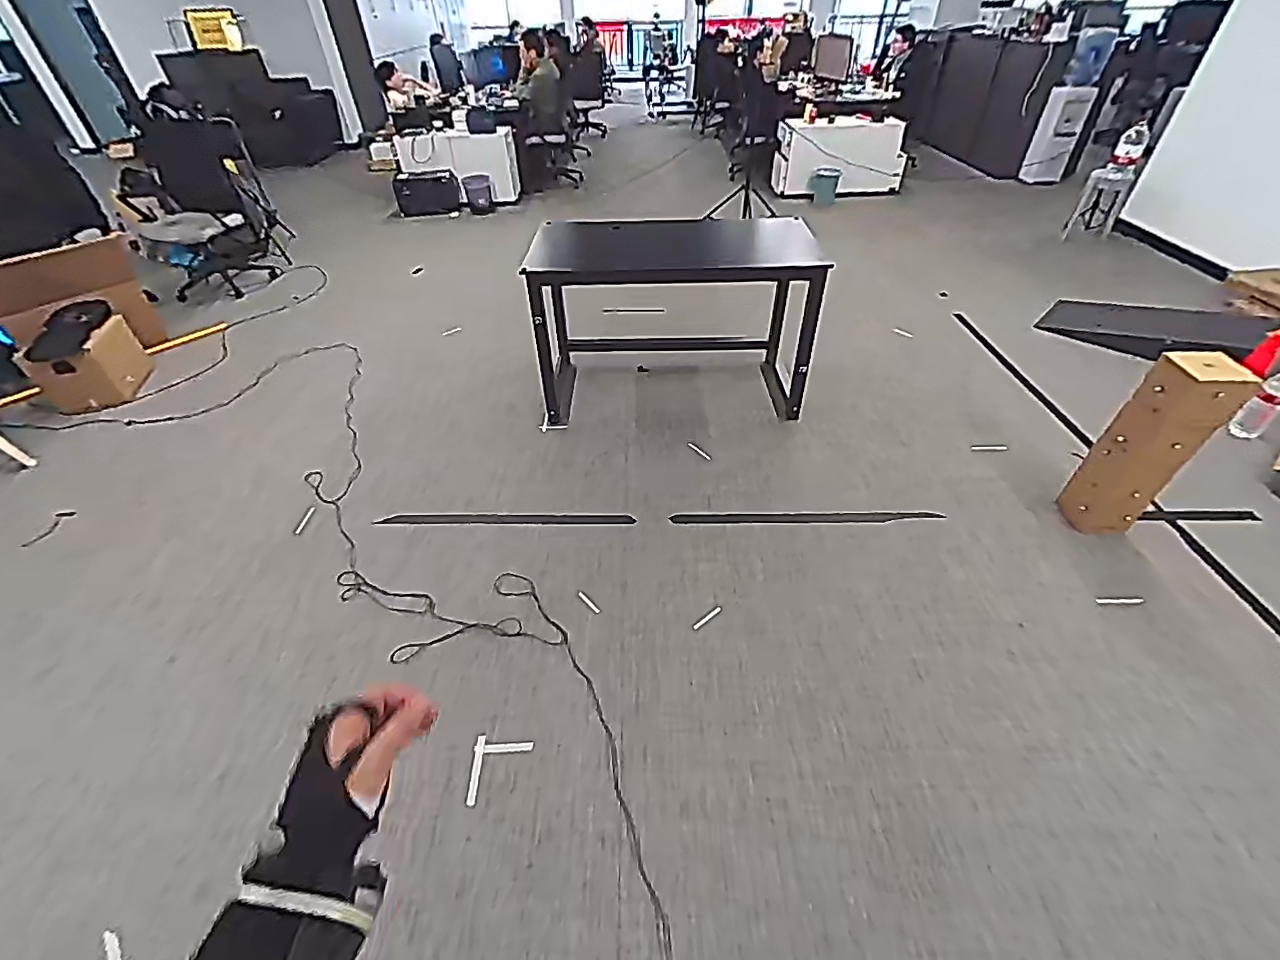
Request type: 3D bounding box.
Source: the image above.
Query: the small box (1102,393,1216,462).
[{"bbox_3d":[1.687,-0.173,1.772,0.179,0.176,0.168,-3,42,0],"label":"small box"}]

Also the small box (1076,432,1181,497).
[{"bbox_3d":[1.692,-0.054,1.886,0.179,0.176,0.168,-2,42,-1],"label":"small box"}]

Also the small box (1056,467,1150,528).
[{"bbox_3d":[1.700,0.067,1.997,0.168,0.176,0.179,-2,41,1],"label":"small box"}]

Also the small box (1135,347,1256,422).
[{"bbox_3d":[1.683,-0.292,1.659,0.179,0.176,0.168,0,43,3],"label":"small box"}]
